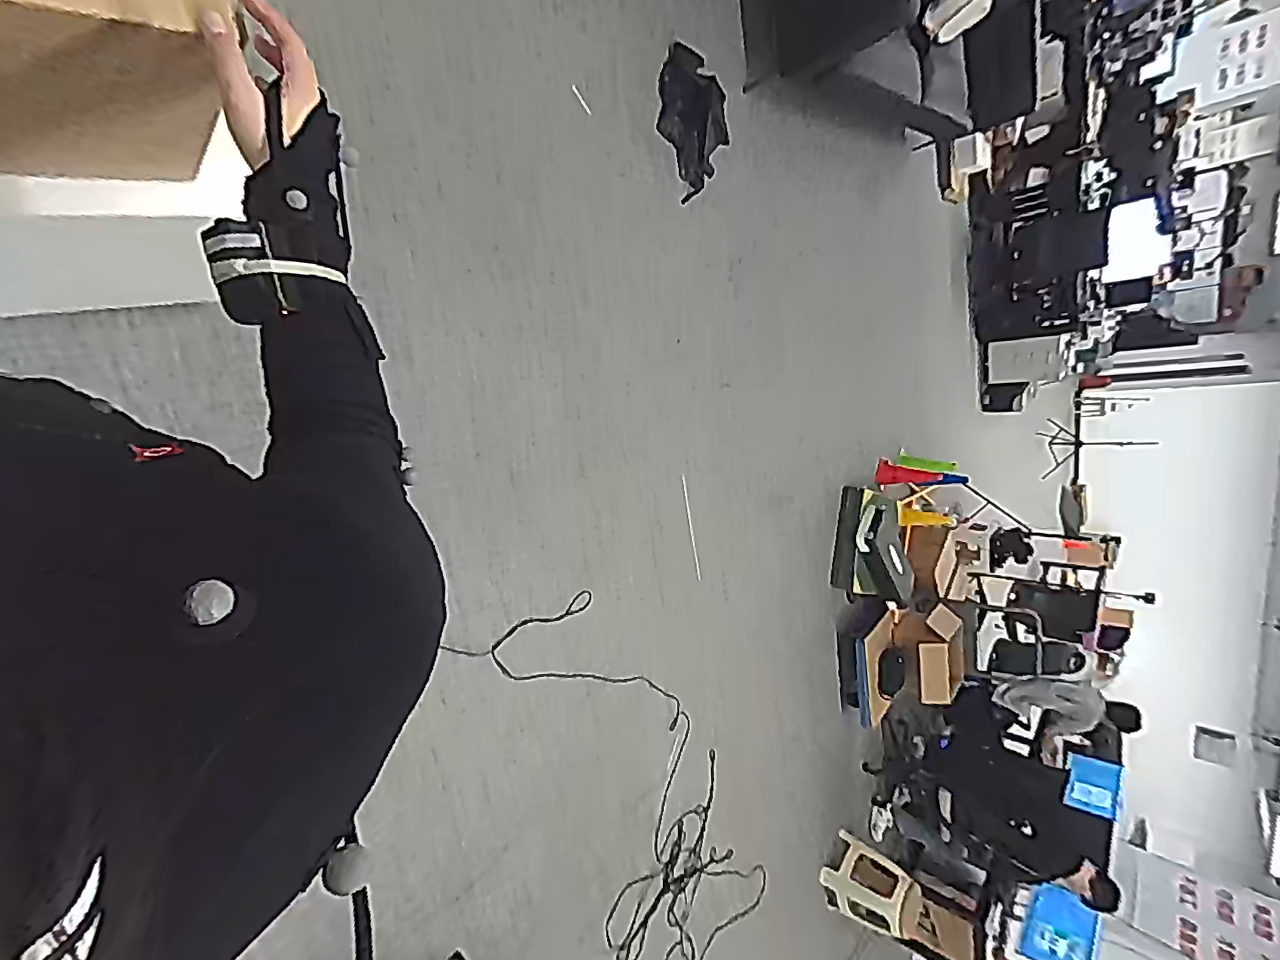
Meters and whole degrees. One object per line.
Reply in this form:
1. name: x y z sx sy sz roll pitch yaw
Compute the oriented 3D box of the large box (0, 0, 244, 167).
1. large box: -0.579 -0.431 0.353 0.408 0.320 0.320 -27 112 -43
